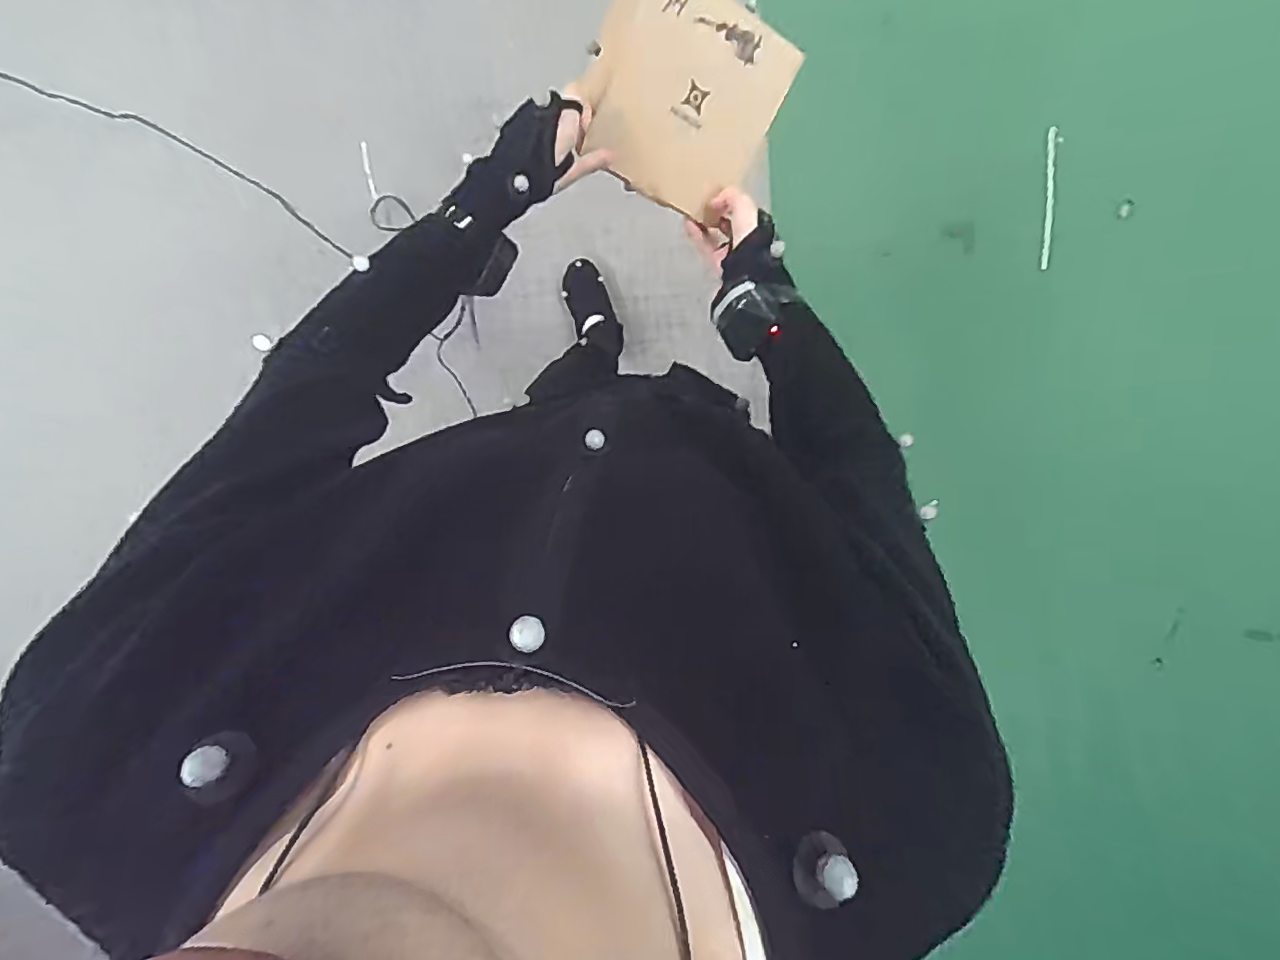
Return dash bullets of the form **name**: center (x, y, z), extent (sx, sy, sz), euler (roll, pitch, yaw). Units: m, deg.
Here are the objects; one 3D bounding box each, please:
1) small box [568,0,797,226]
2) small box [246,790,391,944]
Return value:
- **small box**: center (0.029, -0.414, 0.582), extent (0.168, 0.176, 0.179), euler (17, 124, -25)
- **small box**: center (-0.595, 0.720, 1.023), extent (0.168, 0.176, 0.179), euler (1, 102, 3)
